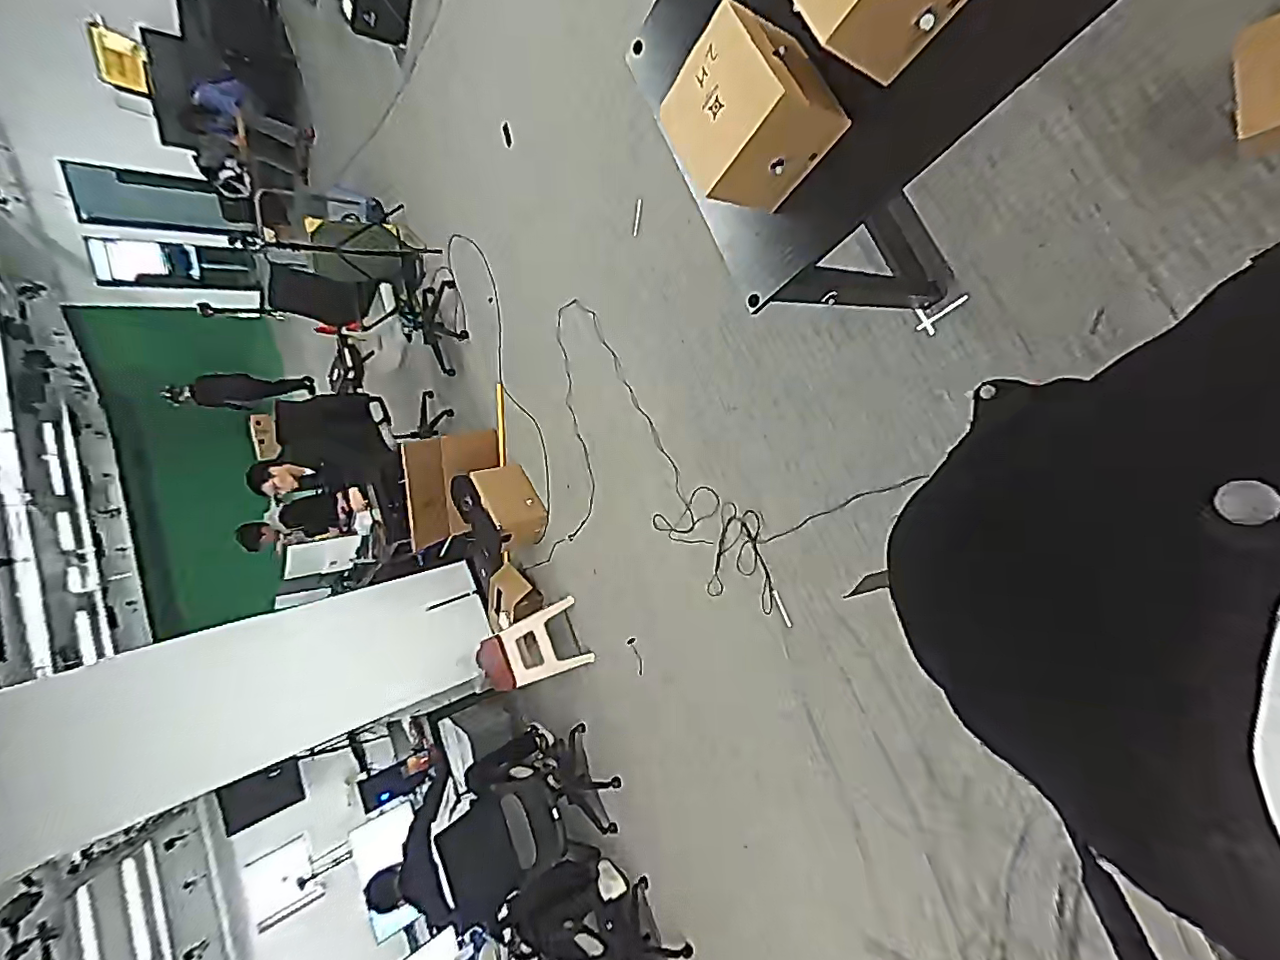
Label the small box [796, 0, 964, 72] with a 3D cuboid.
[{"bbox_3d":[0.281,-0.628,0.631,0.168,0.176,0.179,-36,73,49],"label":"small box"}]

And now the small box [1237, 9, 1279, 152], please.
[{"bbox_3d":[1.067,-0.648,0.841,0.179,0.176,0.168,-3,97,52],"label":"small box"}]
